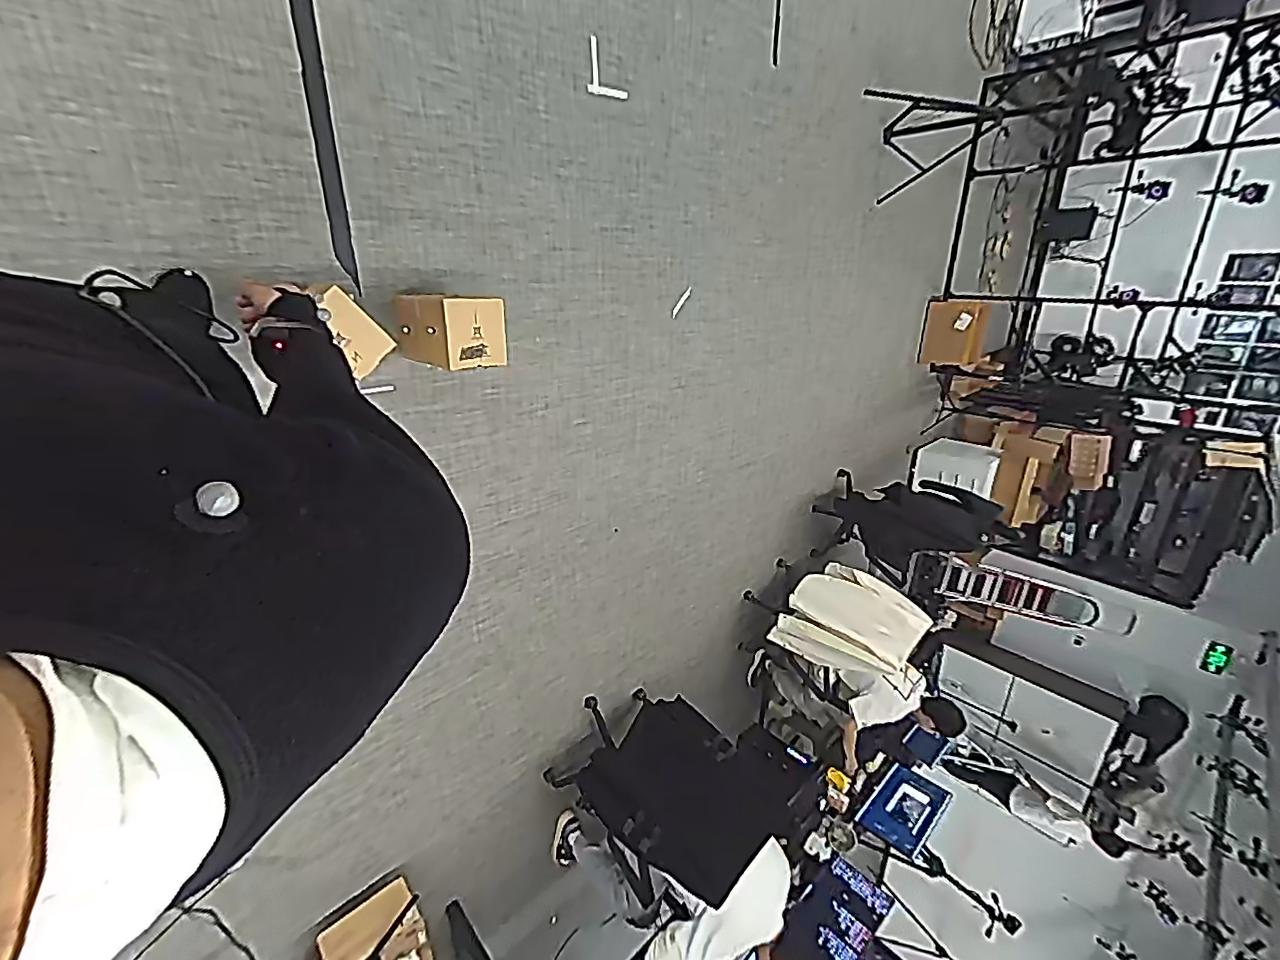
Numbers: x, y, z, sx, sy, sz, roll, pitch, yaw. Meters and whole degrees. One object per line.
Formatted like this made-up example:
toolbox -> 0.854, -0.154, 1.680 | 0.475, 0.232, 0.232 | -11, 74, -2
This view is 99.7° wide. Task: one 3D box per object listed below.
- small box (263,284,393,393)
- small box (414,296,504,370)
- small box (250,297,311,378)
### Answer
small box -> -0.715, -0.325, 1.236 | 0.168, 0.176, 0.179 | -54, 136, -15
small box -> -0.482, -0.395, 1.439 | 0.168, 0.176, 0.179 | -17, 116, -41
small box -> -0.837, -0.361, 1.341 | 0.168, 0.176, 0.179 | -21, 120, -38
